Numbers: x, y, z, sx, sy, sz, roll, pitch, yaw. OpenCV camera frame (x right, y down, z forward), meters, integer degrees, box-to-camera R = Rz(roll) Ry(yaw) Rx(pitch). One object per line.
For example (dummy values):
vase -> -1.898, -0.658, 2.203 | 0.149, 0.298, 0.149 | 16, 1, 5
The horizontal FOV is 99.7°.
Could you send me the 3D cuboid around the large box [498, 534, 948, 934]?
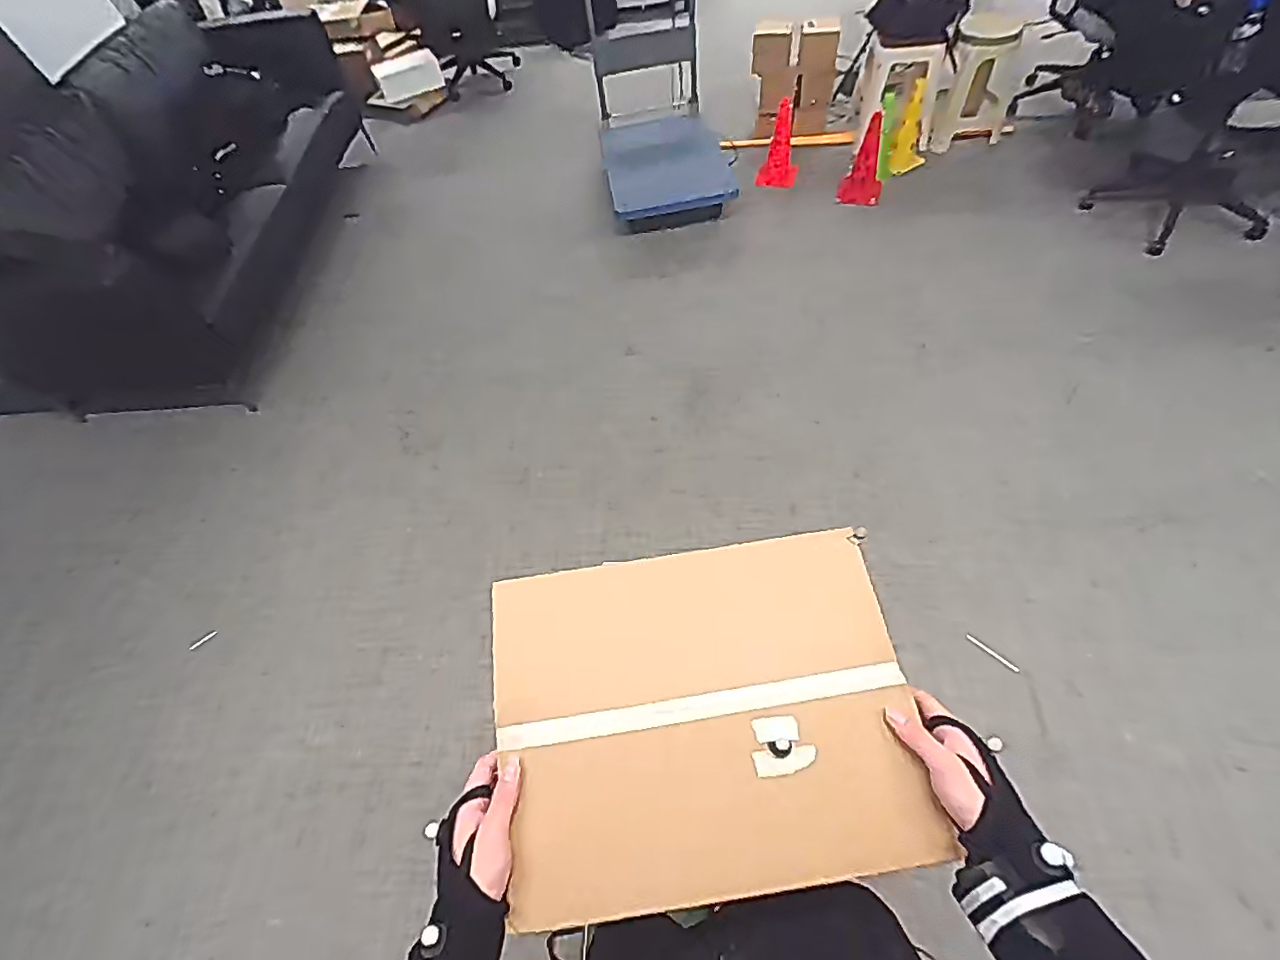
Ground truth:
large box -> 0.066, 0.294, 0.678 | 0.408, 0.320, 0.320 | -9, 65, -2
